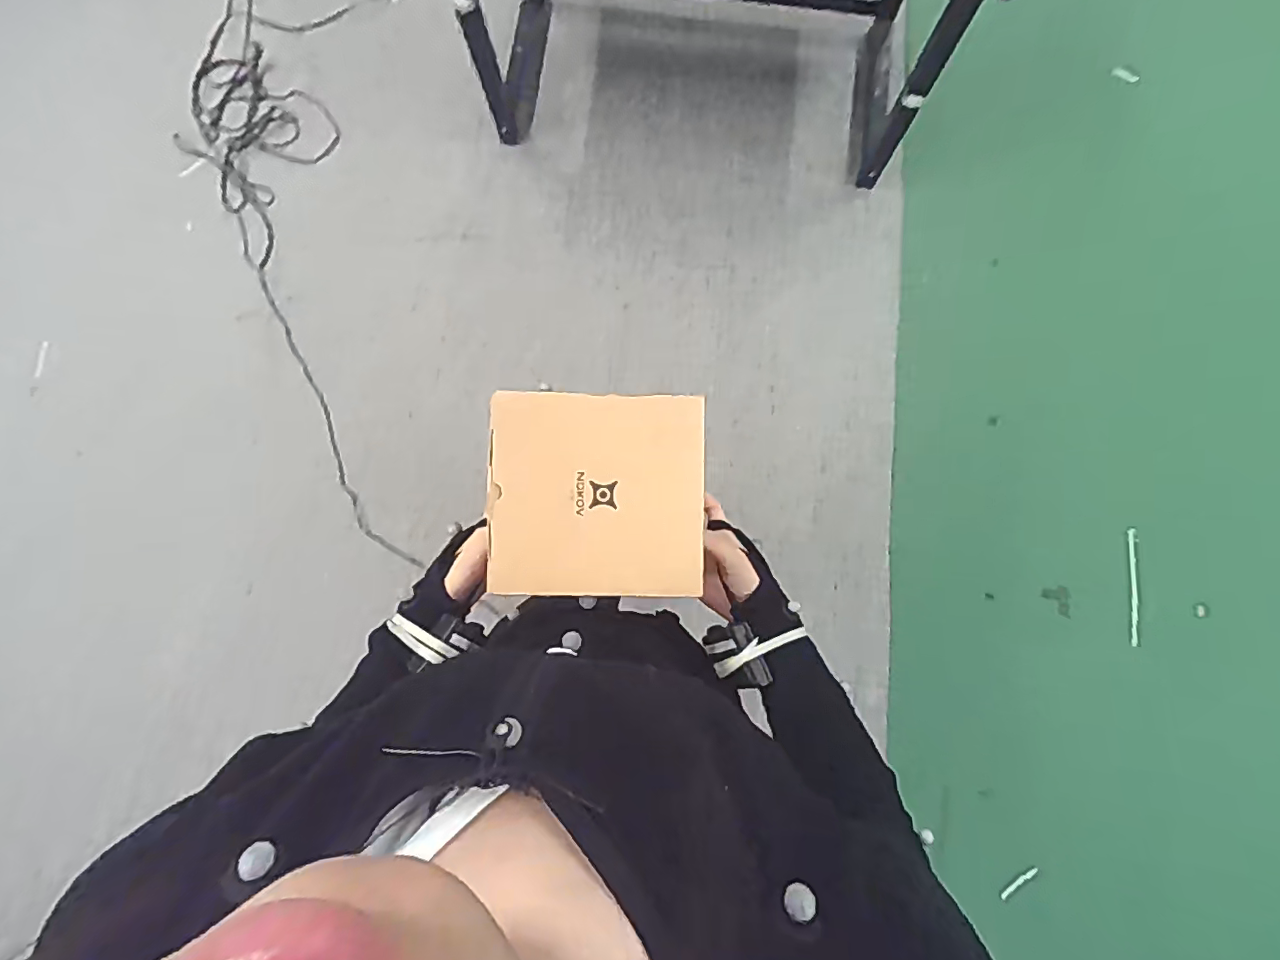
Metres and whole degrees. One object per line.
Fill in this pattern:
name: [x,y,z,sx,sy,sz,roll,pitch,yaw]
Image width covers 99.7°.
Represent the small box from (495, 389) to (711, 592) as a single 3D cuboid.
small box: [-0.033,0.010,0.524,0.179,0.176,0.168,1,89,-2]
